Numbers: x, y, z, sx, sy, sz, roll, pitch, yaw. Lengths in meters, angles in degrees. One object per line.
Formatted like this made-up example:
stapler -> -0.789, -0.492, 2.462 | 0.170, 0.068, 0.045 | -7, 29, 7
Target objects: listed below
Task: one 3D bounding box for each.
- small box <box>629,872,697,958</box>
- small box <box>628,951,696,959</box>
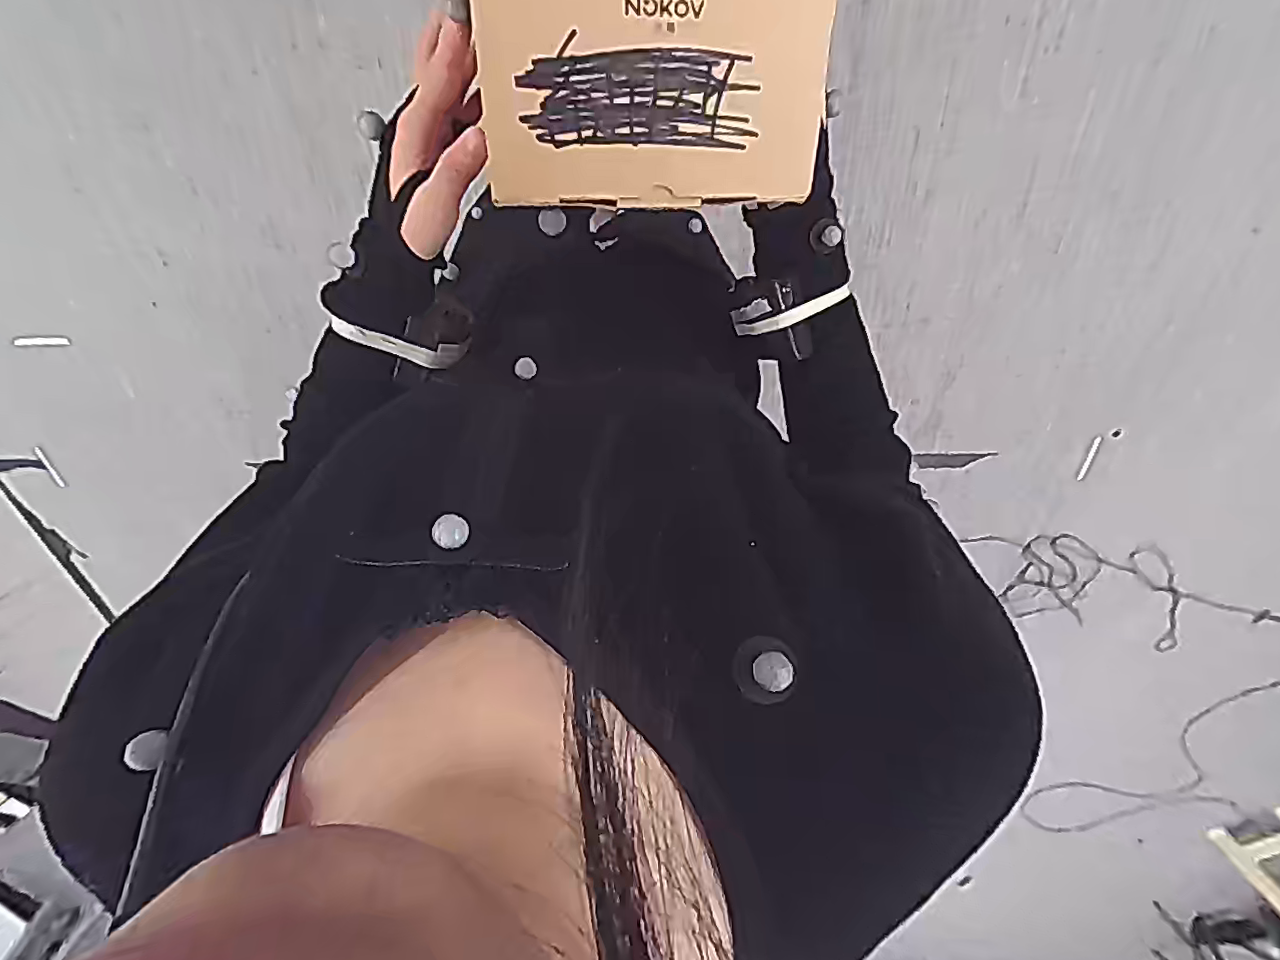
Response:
small box -> 0.055, 1.133, 1.384 | 0.168, 0.176, 0.179 | 0, 122, 1
small box -> 0.052, 1.225, 1.248 | 0.168, 0.176, 0.179 | -1, 123, 2
